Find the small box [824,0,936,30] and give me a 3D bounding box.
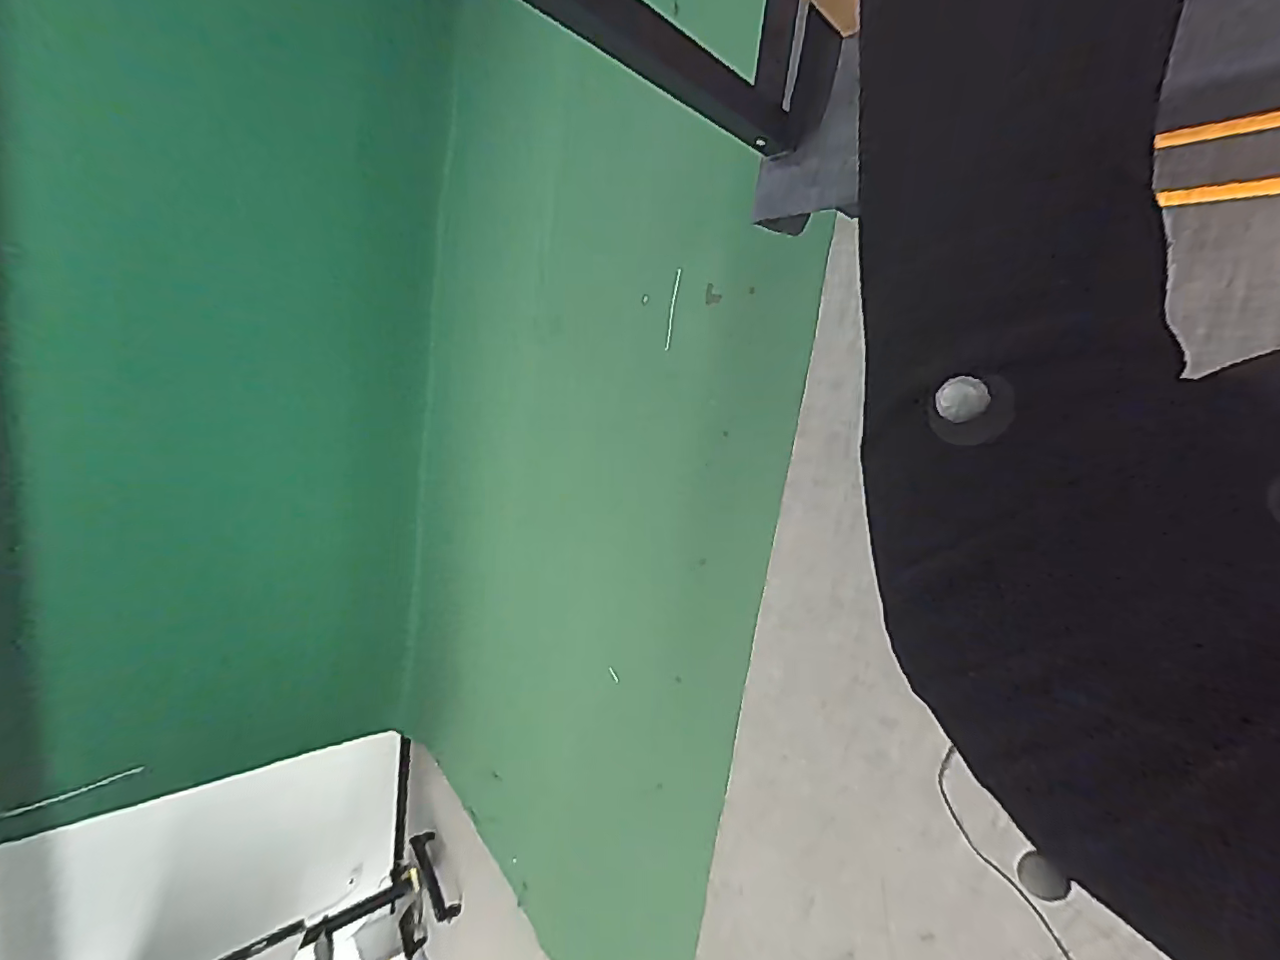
[{"bbox_3d":[0.322,-0.755,0.710,0.168,0.176,0.179,20,106,47],"label":"small box"}]
